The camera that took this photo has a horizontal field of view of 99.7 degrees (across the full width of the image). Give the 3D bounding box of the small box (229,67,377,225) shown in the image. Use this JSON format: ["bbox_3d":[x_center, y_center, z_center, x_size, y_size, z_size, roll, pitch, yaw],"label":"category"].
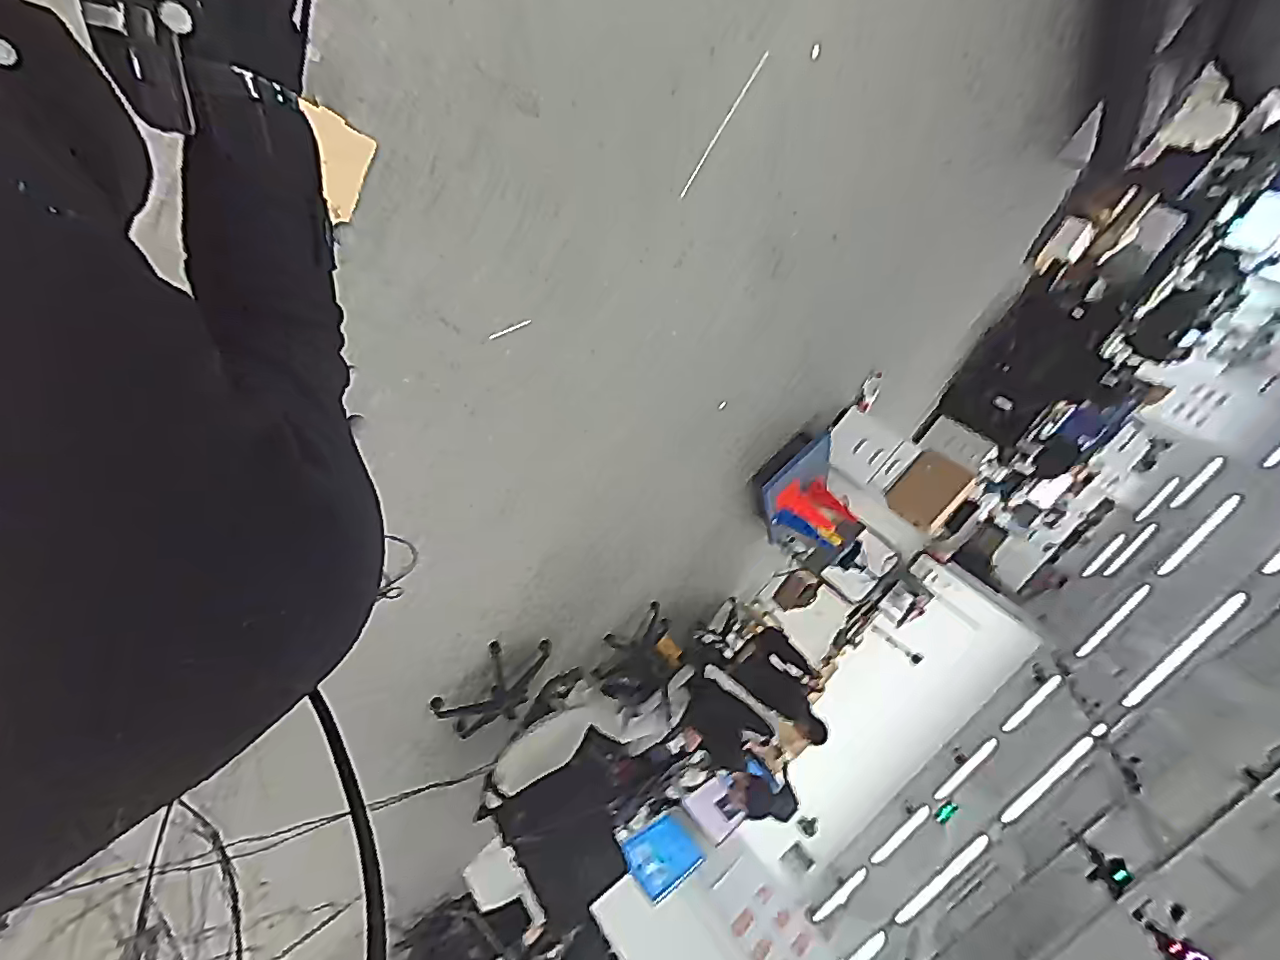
[{"bbox_3d":[-0.627,-0.616,0.999,0.168,0.176,0.179,8,118,-54],"label":"small box"}]
